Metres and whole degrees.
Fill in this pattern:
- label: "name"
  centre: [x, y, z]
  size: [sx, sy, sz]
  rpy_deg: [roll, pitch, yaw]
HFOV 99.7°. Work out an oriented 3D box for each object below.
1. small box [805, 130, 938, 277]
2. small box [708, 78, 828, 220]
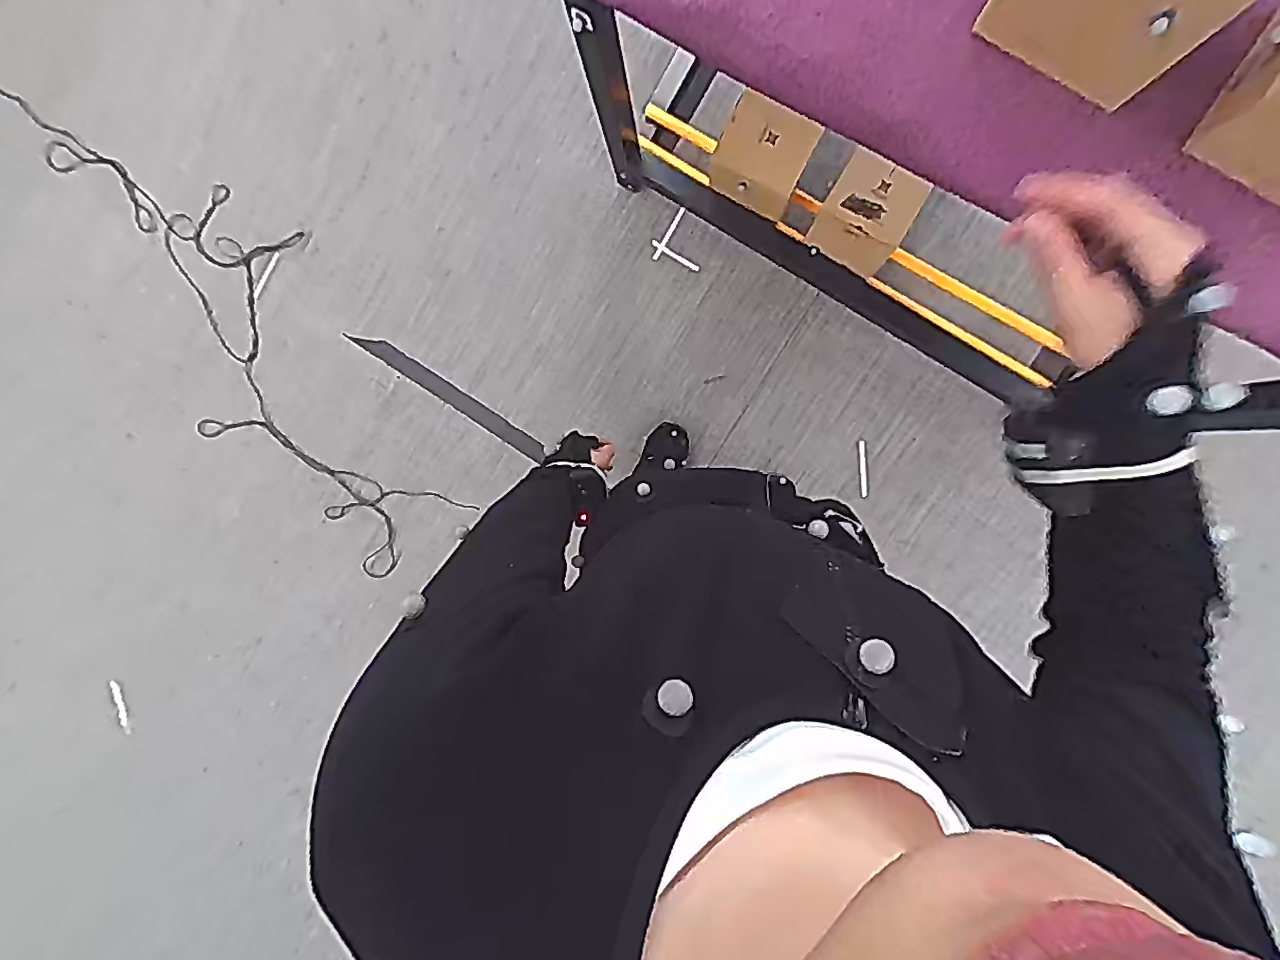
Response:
- label: "small box"
  centre: [0.458, -0.551, 1.106]
  size: [0.168, 0.176, 0.179]
  rpy_deg: [31, 90, 2]
- label: "small box"
  centre: [0.254, -0.669, 1.120]
  size: [0.179, 0.176, 0.168]
  rpy_deg: [28, 97, 3]
